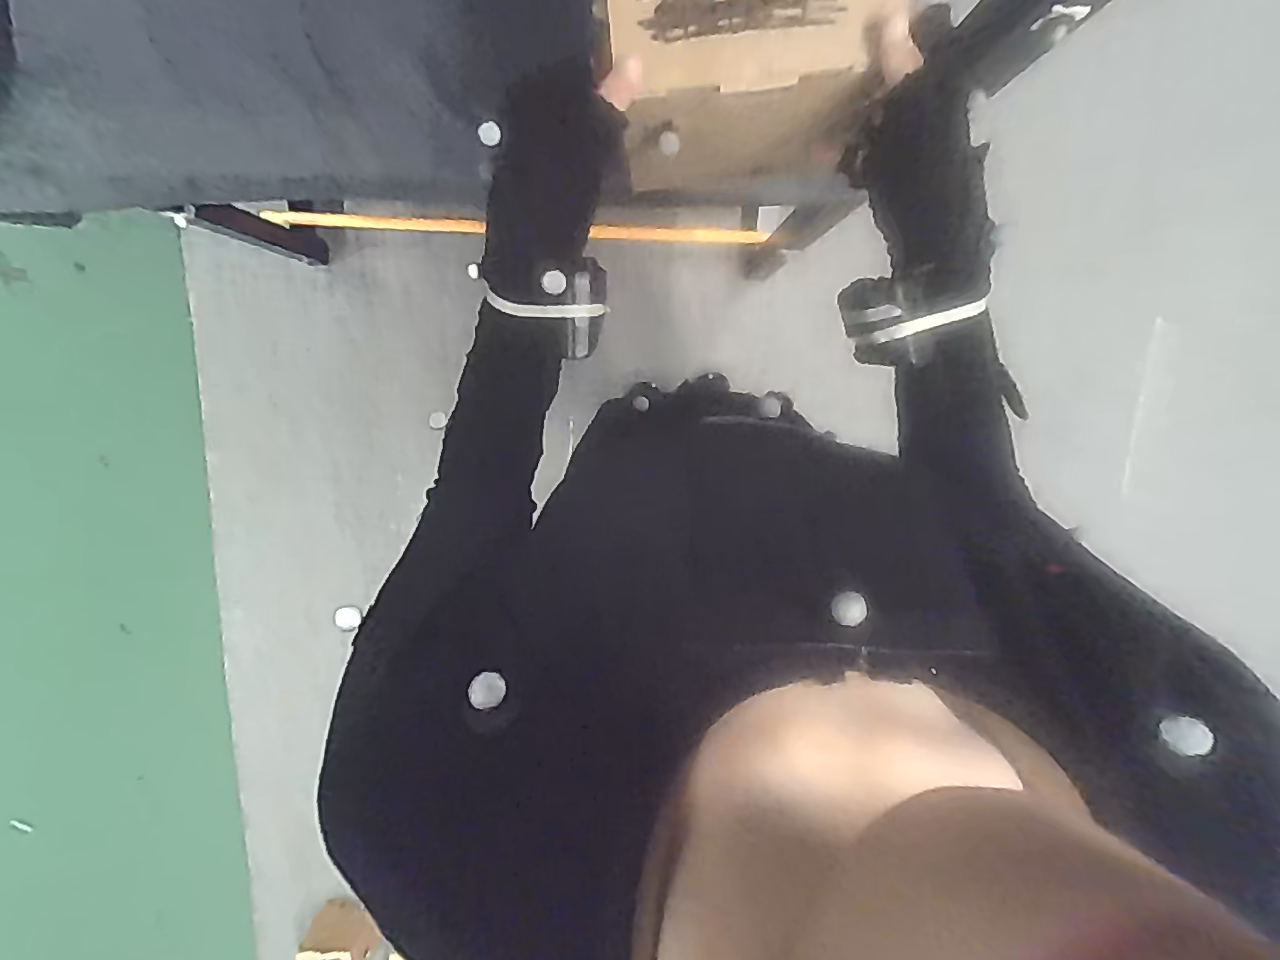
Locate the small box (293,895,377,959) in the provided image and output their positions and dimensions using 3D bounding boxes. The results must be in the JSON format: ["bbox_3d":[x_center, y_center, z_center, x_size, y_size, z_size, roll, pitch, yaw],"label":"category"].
[{"bbox_3d":[-0.939,1.433,1.676,0.168,0.176,0.179,2,101,1],"label":"small box"}]
